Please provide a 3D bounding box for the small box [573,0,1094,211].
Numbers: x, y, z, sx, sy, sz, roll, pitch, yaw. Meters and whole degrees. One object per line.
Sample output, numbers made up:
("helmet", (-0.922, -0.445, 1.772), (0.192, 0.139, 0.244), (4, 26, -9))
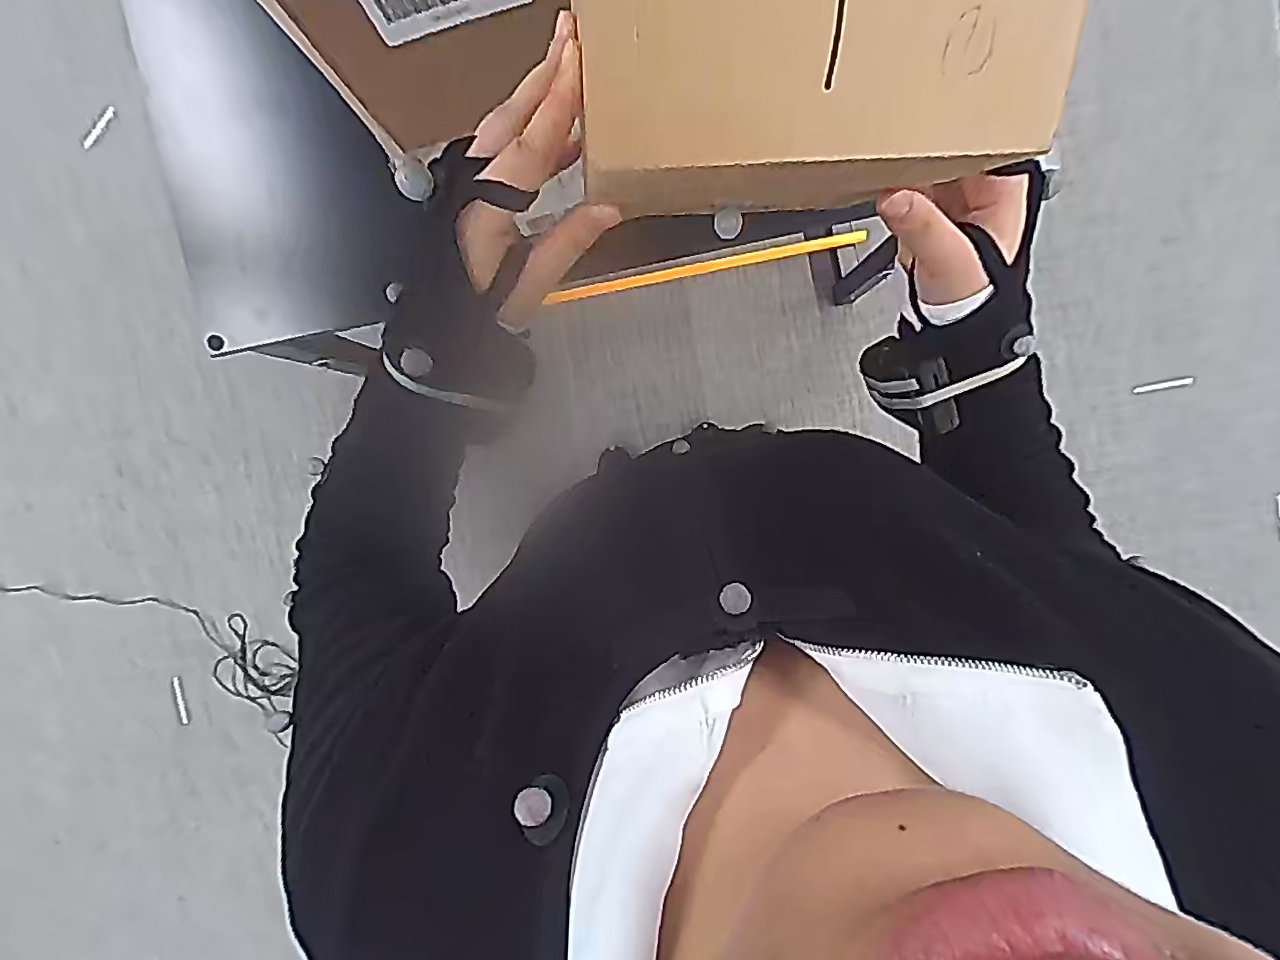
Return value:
("small box", (0.055, -0.221, 0.227), (0.168, 0.176, 0.179), (-4, 112, -4))
